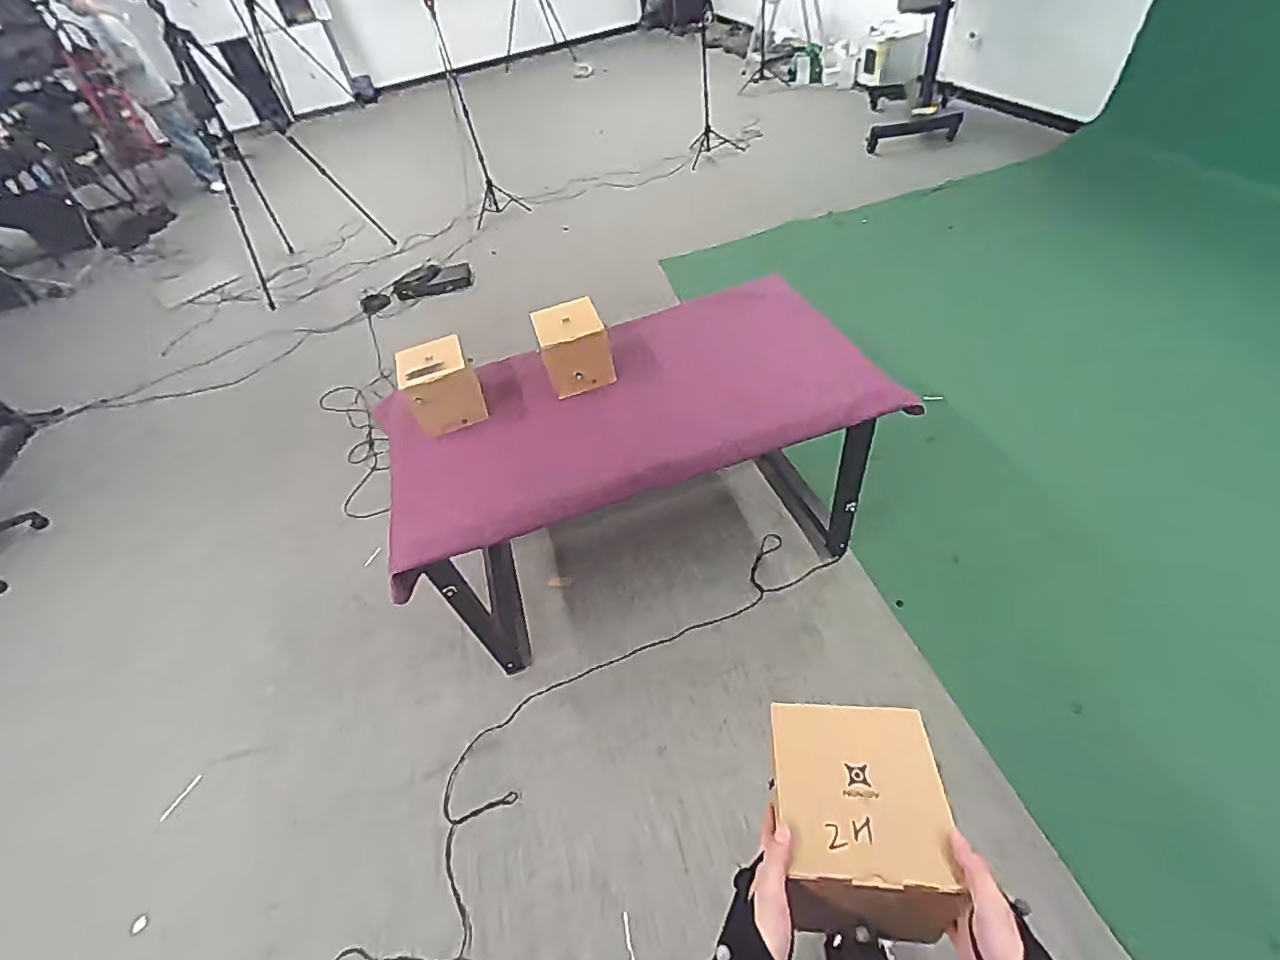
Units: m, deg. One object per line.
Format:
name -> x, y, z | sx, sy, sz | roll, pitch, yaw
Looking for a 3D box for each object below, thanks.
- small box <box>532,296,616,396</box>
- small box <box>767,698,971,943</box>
small box -> -0.174, -0.354, 1.433 | 0.168, 0.176, 0.179 | -19, 49, -6
small box -> 0.230, 0.370, 0.599 | 0.168, 0.176, 0.179 | -2, 37, 10
